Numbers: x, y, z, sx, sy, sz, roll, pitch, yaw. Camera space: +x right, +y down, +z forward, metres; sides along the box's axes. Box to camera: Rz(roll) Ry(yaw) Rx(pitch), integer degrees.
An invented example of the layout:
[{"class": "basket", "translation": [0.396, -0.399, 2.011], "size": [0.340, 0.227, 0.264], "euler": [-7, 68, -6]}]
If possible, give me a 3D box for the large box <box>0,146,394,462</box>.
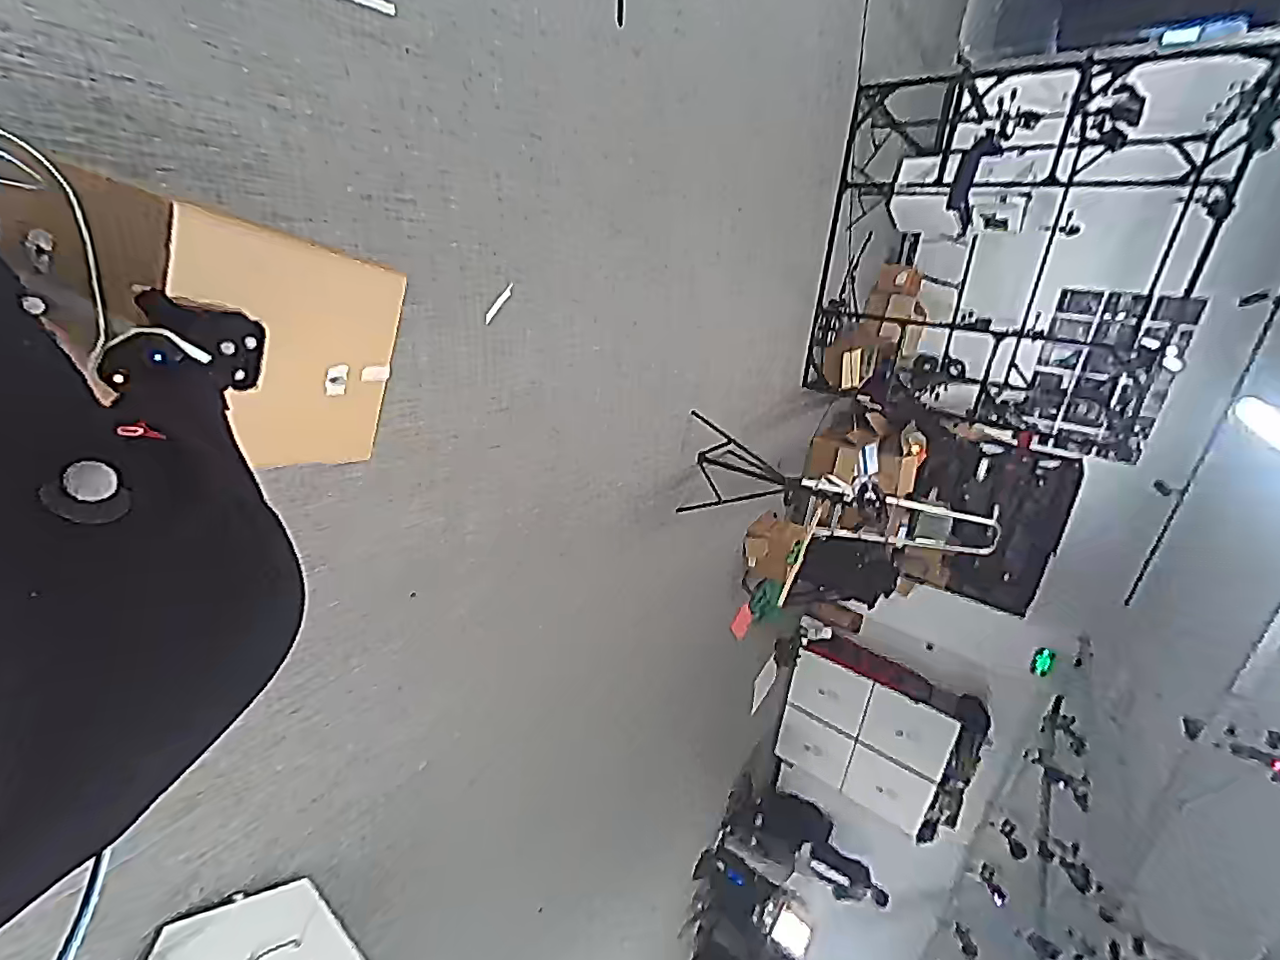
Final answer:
[{"class": "large box", "translation": [-0.648, -0.248, 0.812], "size": [0.320, 0.408, 0.320], "euler": [-14, 125, -64]}]
